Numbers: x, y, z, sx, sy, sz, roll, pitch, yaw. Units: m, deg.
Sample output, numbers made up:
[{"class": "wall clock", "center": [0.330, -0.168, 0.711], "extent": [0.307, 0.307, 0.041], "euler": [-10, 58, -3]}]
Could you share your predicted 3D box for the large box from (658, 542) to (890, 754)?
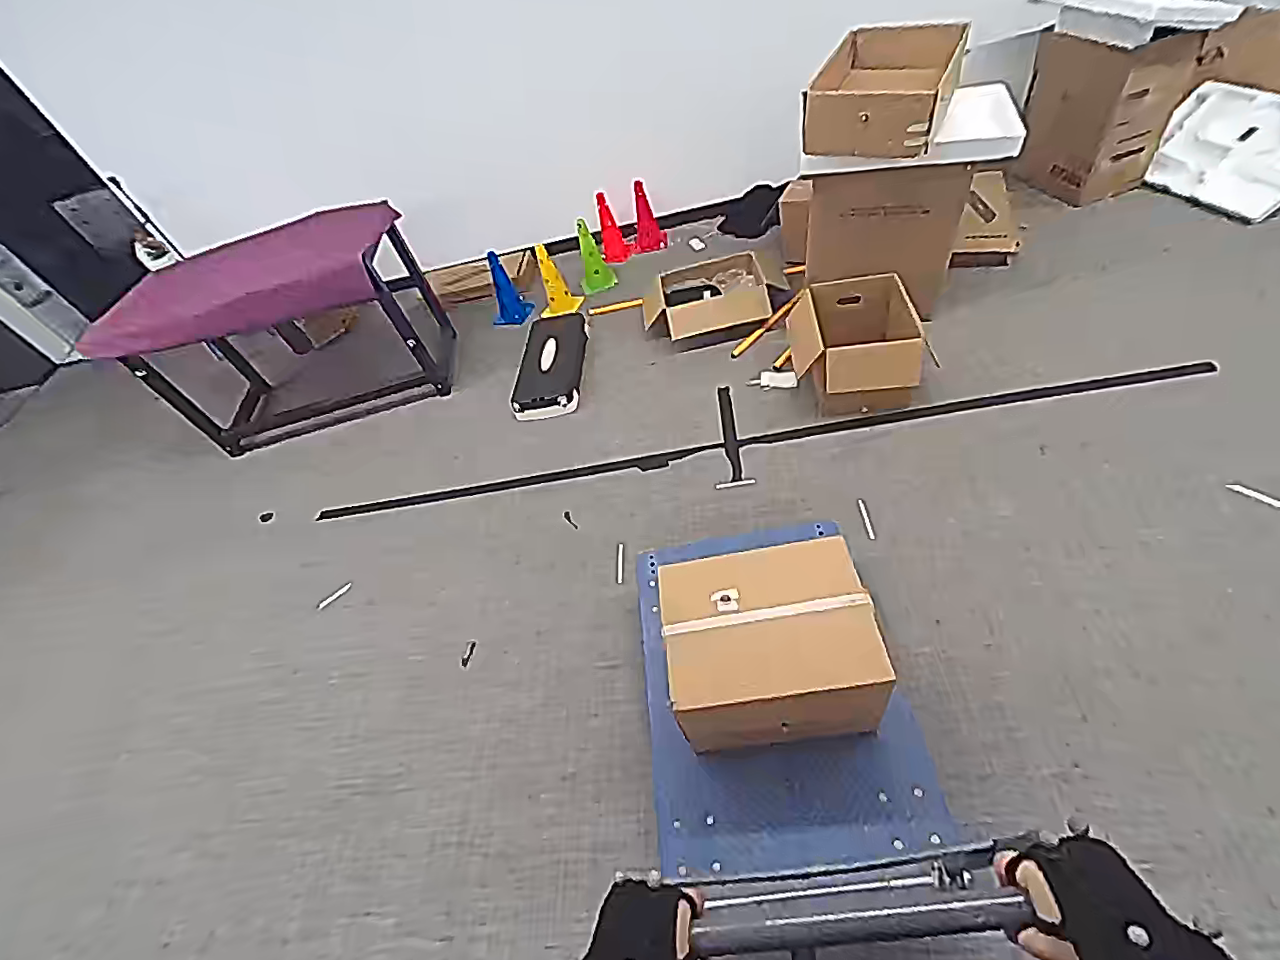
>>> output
[{"class": "large box", "center": [0.278, 0.379, 1.191], "extent": [0.408, 0.320, 0.320], "euler": [-12, 48, 8]}]
